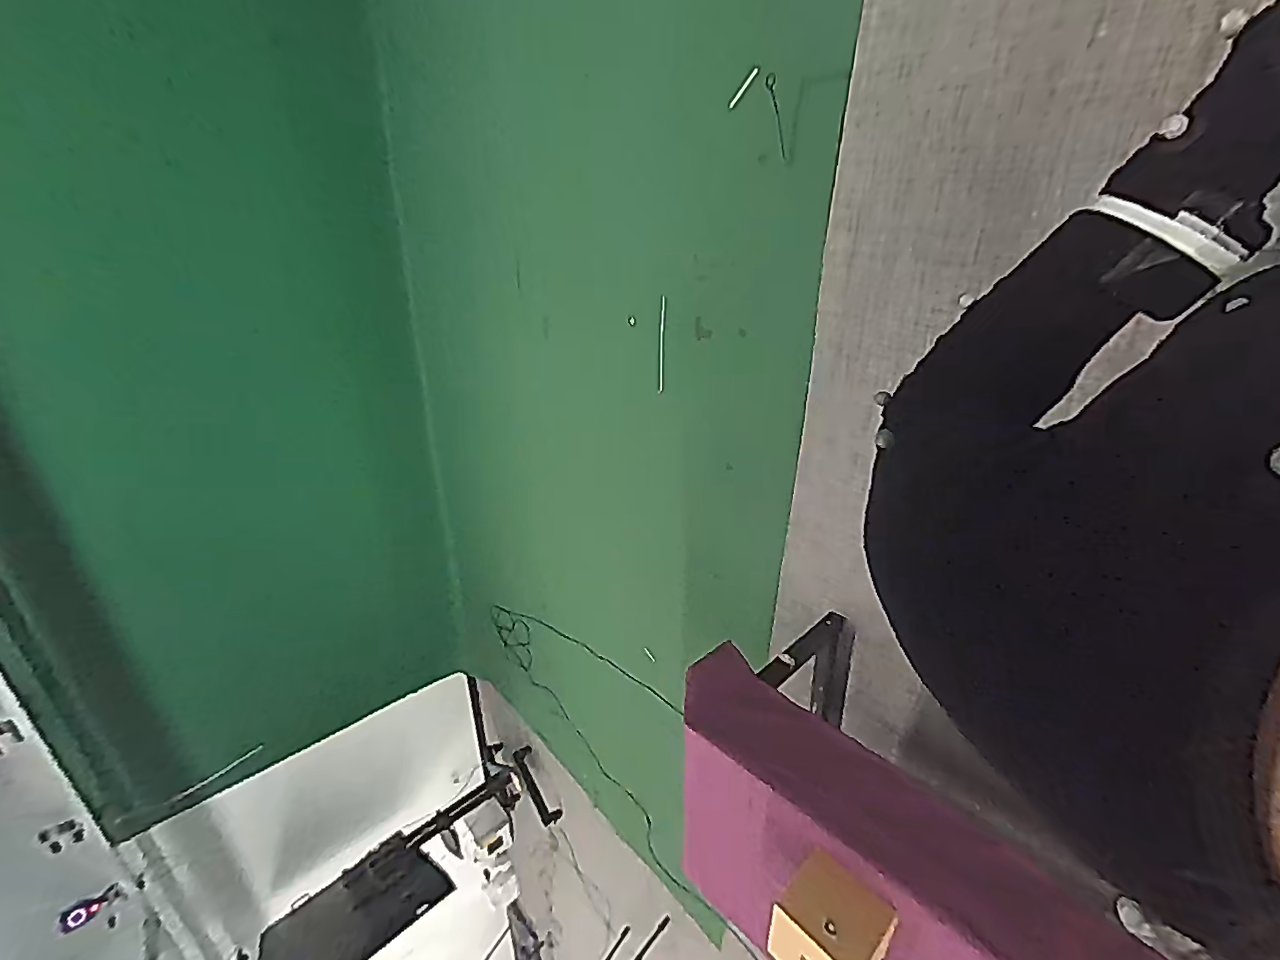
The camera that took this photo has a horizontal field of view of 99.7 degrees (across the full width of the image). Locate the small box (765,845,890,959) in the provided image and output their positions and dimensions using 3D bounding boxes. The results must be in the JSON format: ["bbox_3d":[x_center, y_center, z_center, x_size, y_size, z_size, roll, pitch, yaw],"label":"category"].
[{"bbox_3d":[0.380,0.901,1.097,0.179,0.176,0.168,24,123,43],"label":"small box"}]
